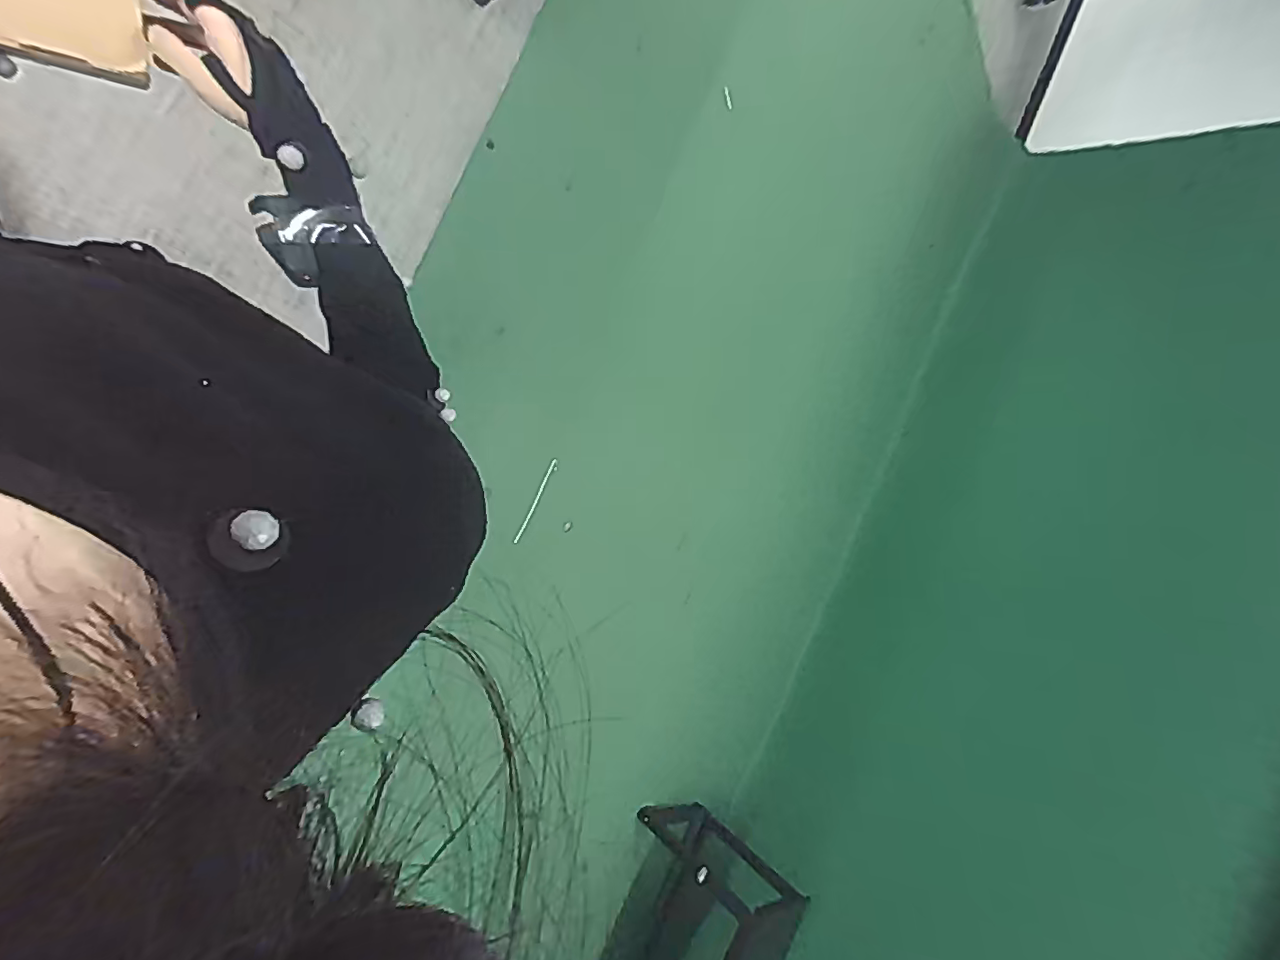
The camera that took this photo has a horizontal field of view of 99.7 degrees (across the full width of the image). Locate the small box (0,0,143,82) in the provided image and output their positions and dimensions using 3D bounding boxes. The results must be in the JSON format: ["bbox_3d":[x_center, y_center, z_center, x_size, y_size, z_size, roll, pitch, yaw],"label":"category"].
[{"bbox_3d":[-0.433,-0.381,0.336,0.168,0.176,0.179,-8,121,-39],"label":"small box"}]
